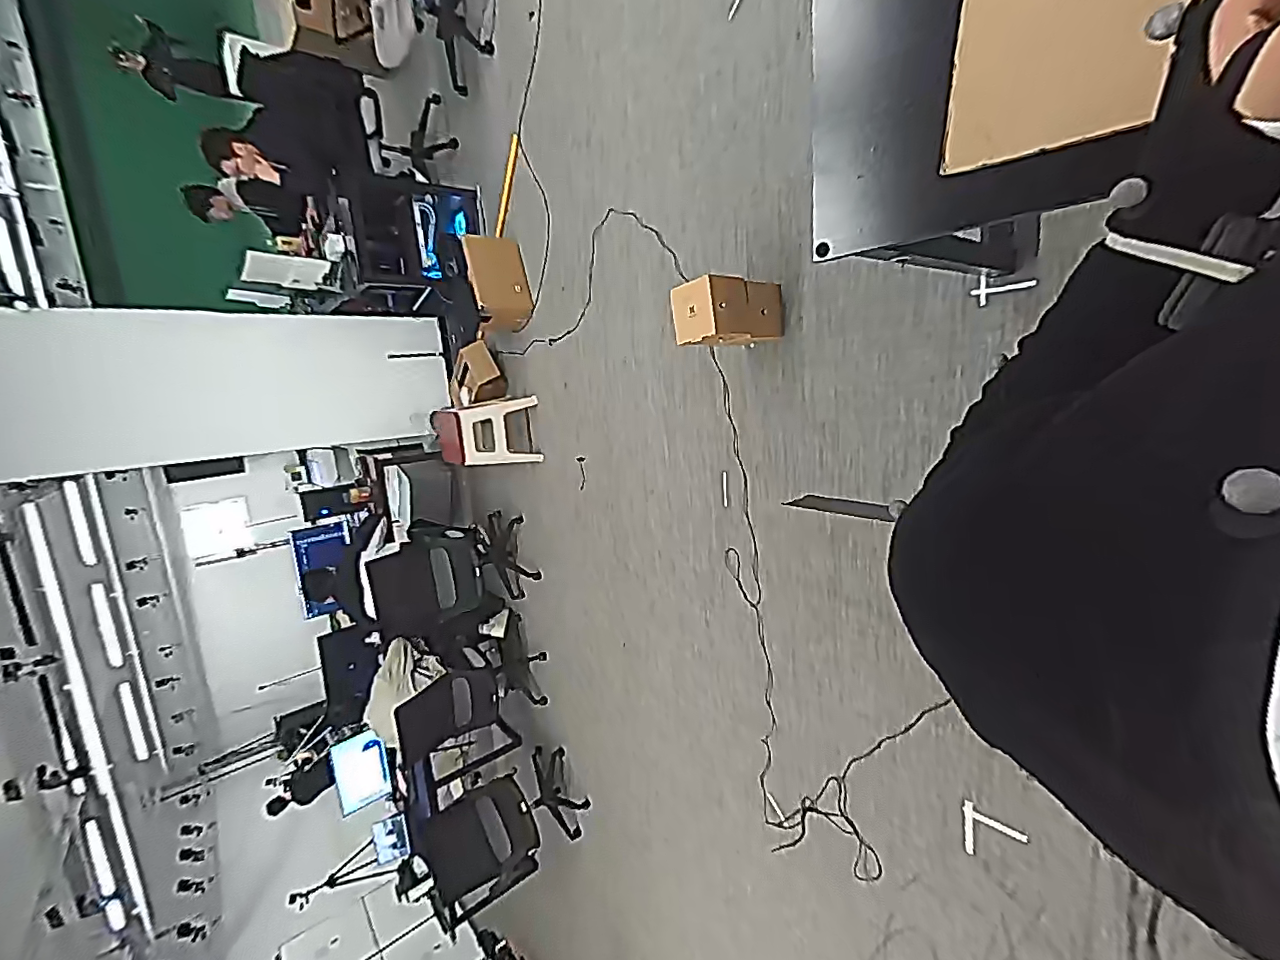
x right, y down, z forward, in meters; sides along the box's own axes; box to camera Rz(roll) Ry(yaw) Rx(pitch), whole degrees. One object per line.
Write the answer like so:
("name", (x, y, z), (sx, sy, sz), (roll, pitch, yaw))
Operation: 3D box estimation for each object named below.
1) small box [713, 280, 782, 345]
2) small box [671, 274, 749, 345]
("small box", (0.346, -0.544, 1.773), (0.168, 0.176, 0.179), (3, 103, 51))
("small box", (0.220, -0.523, 1.673), (0.168, 0.176, 0.179), (-2, 97, 51))
